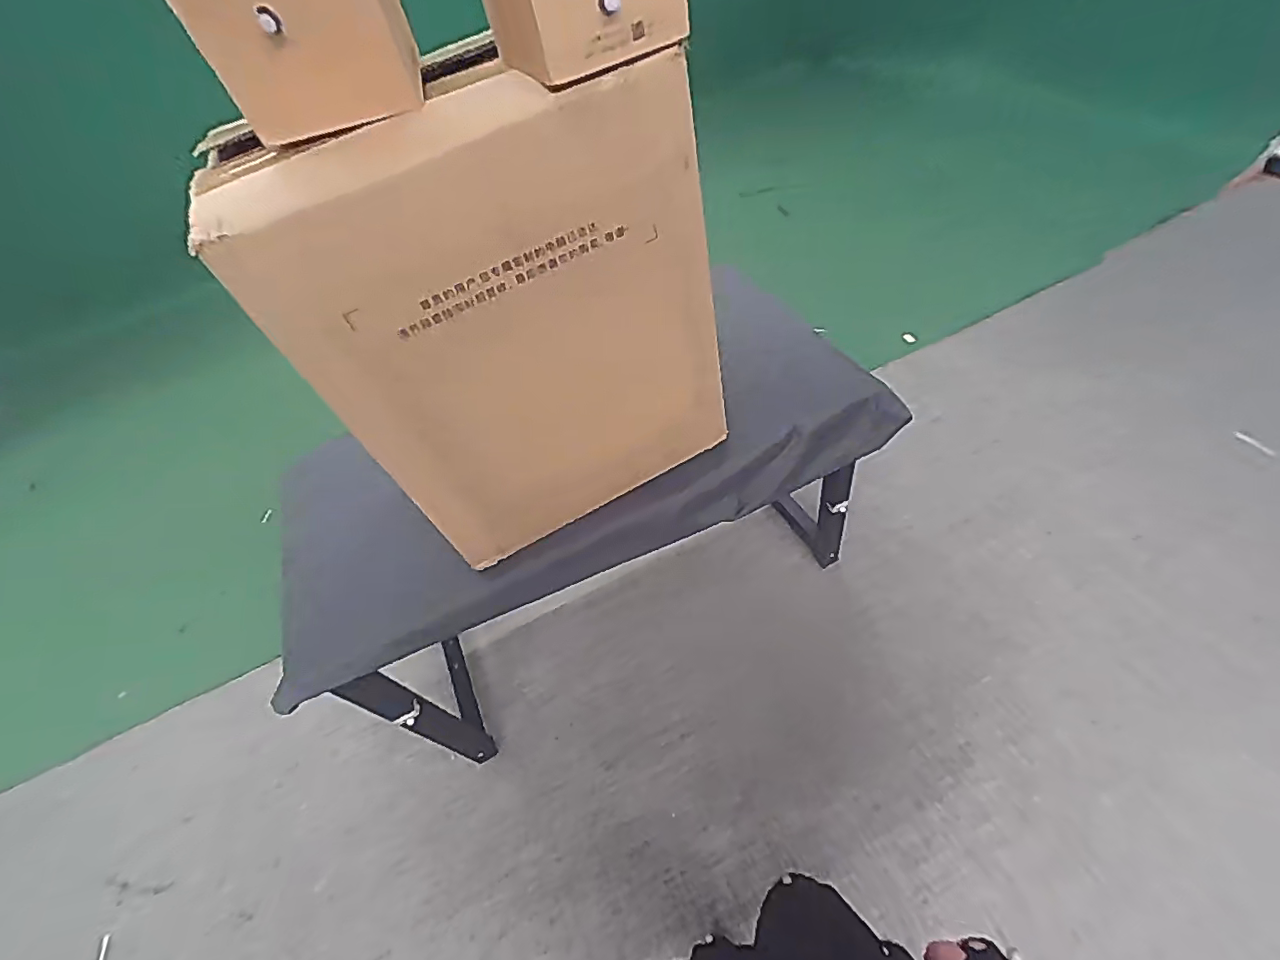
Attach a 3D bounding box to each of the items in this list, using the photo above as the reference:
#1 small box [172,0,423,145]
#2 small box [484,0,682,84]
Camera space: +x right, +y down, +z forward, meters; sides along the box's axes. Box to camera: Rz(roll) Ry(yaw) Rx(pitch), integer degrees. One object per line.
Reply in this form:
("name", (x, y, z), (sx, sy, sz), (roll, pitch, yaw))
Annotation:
("small box", (-0.348, -0.482, 0.558), (0.179, 0.176, 0.168), (-17, 59, -1))
("small box", (-0.072, -0.533, 0.548), (0.168, 0.176, 0.179), (-28, 52, -10))
